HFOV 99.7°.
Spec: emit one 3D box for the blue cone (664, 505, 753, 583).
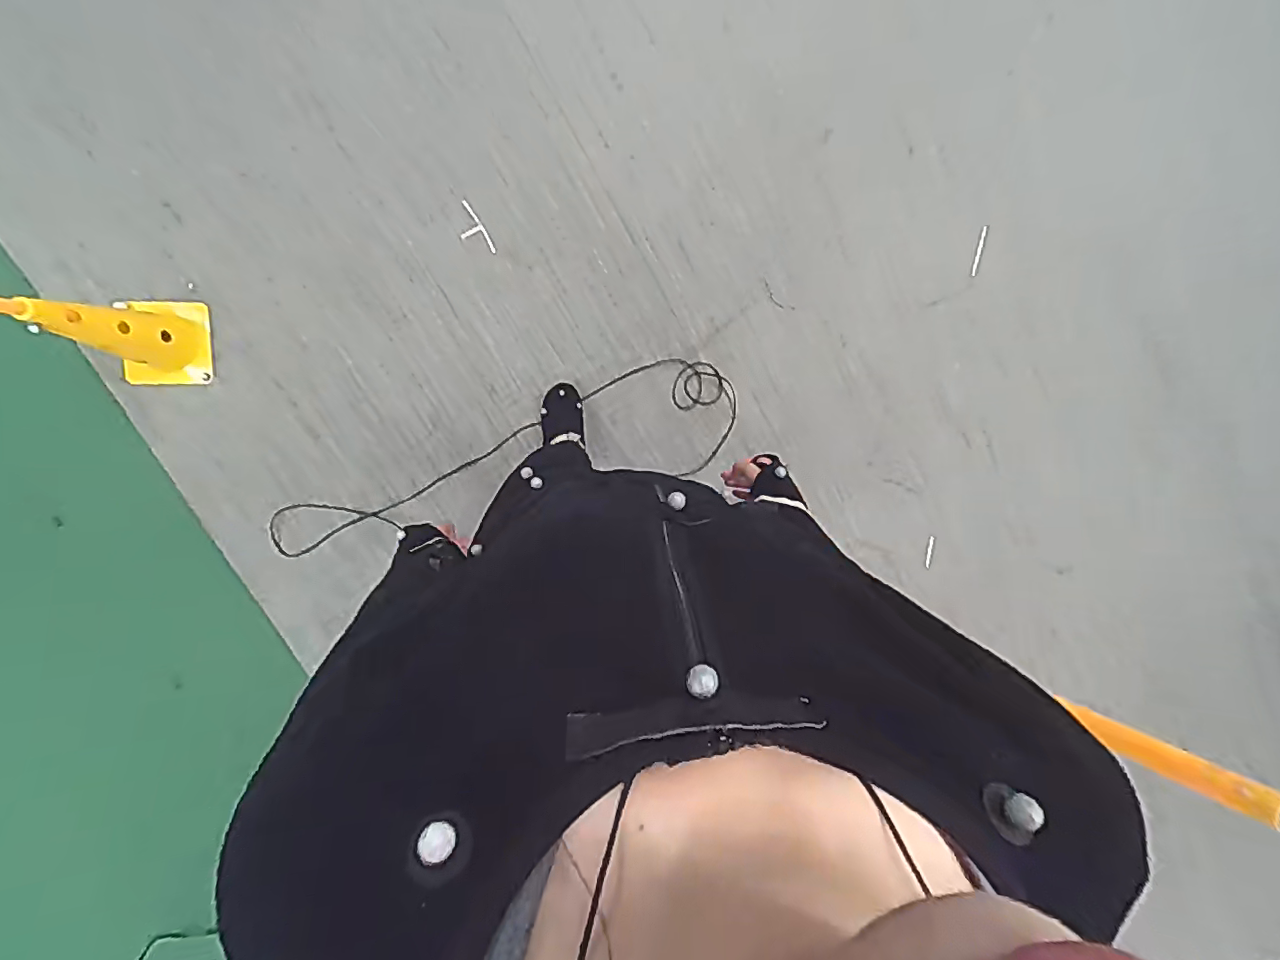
[{"bbox_3d":[0.197,0.182,1.342,0.193,0.380,0.192,14,91,-10],"label":"blue cone"}]
